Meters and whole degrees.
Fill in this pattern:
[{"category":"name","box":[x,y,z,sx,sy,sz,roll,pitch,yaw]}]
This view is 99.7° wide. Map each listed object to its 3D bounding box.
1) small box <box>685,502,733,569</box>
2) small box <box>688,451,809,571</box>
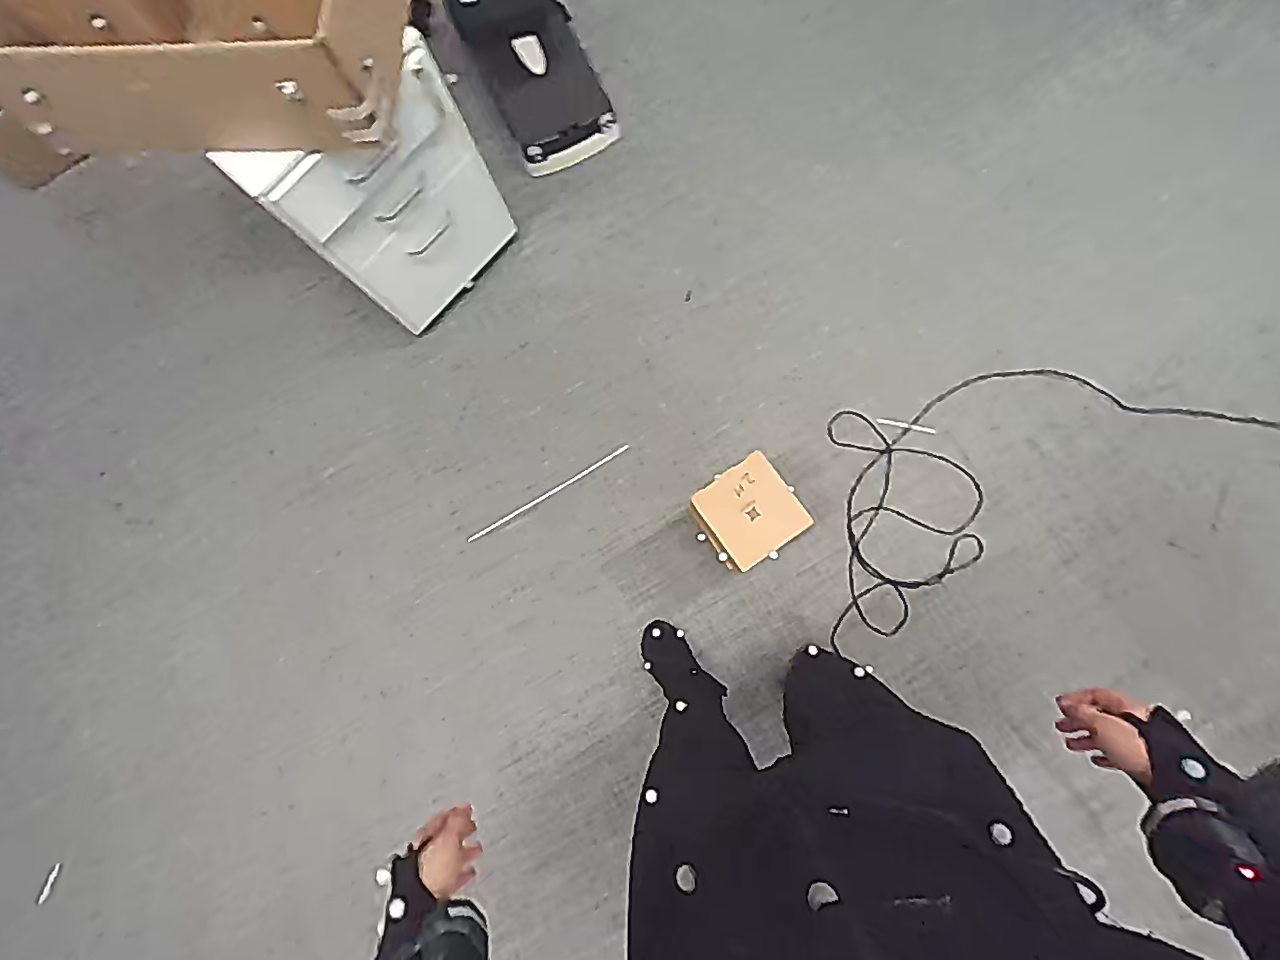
[{"category":"small box","box":[0.222,0.091,1.269,0.168,0.176,0.179,-34,79,0]},{"category":"small box","box":[0.214,0.069,1.105,0.168,0.176,0.179,-35,79,-1]}]
